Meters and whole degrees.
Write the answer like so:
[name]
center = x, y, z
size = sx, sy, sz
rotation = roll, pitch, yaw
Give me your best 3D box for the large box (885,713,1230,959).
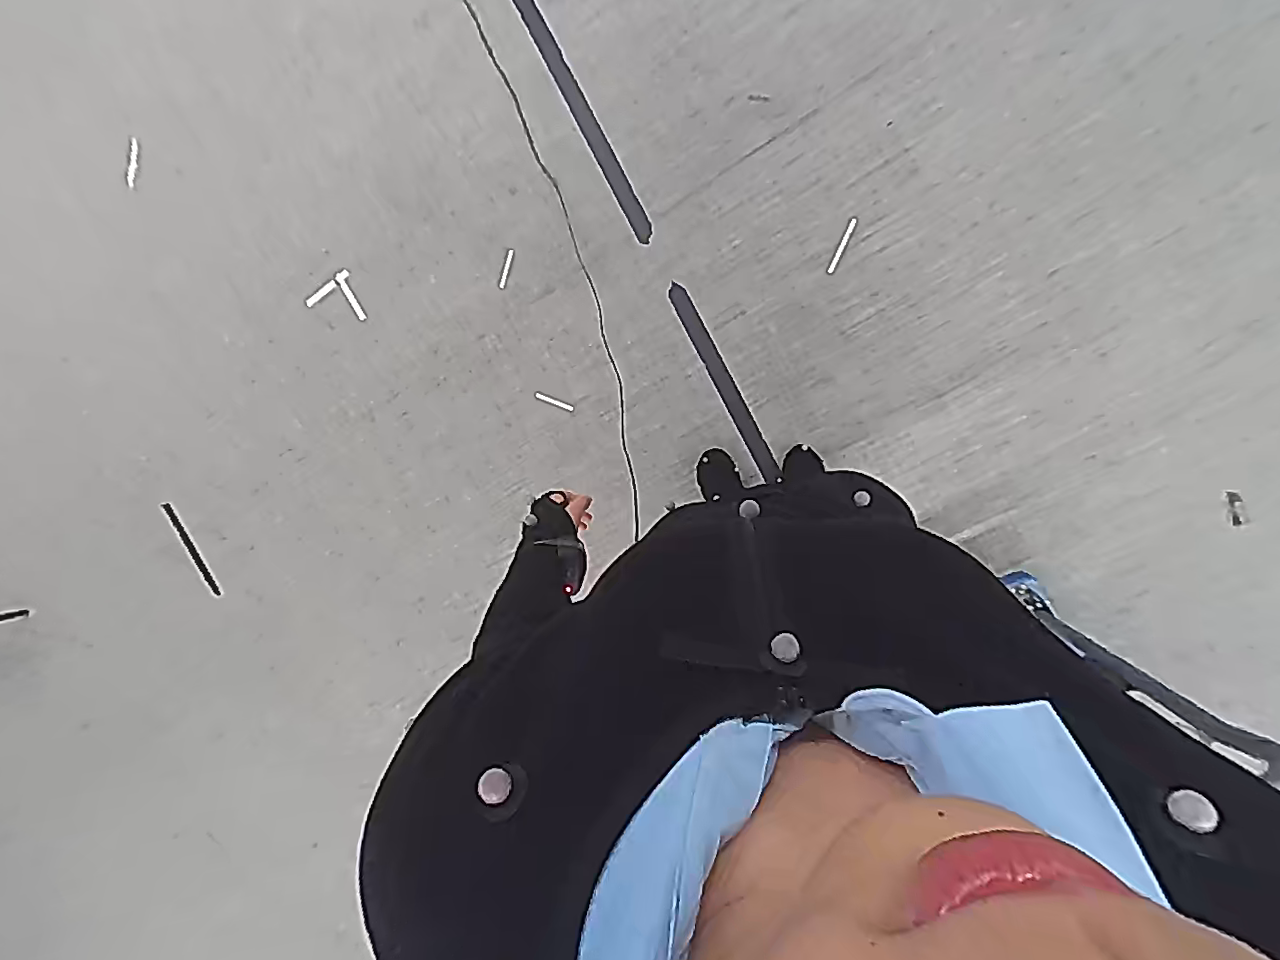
[large box]
center = 0.796, 0.756, 1.109
size = 0.408, 0.320, 0.320
rotation = -27, 92, 11
